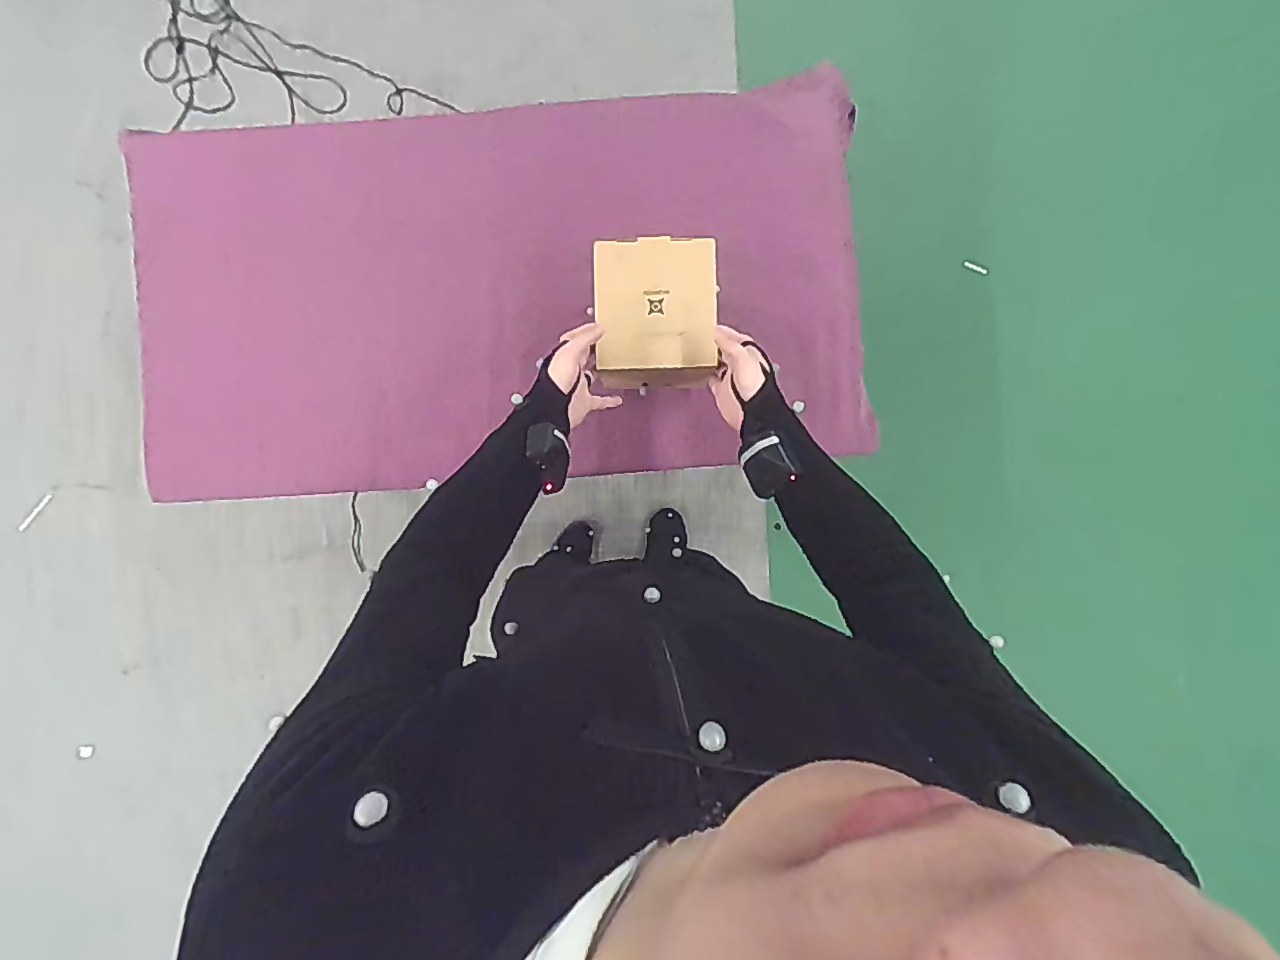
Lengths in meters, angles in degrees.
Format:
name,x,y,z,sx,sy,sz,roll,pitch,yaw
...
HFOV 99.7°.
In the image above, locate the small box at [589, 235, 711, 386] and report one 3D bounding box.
name,x,y,z,sx,sy,sz,roll,pitch,yaw
small box,0.013,-0.240,0.801,0.168,0.176,0.179,-1,91,1
